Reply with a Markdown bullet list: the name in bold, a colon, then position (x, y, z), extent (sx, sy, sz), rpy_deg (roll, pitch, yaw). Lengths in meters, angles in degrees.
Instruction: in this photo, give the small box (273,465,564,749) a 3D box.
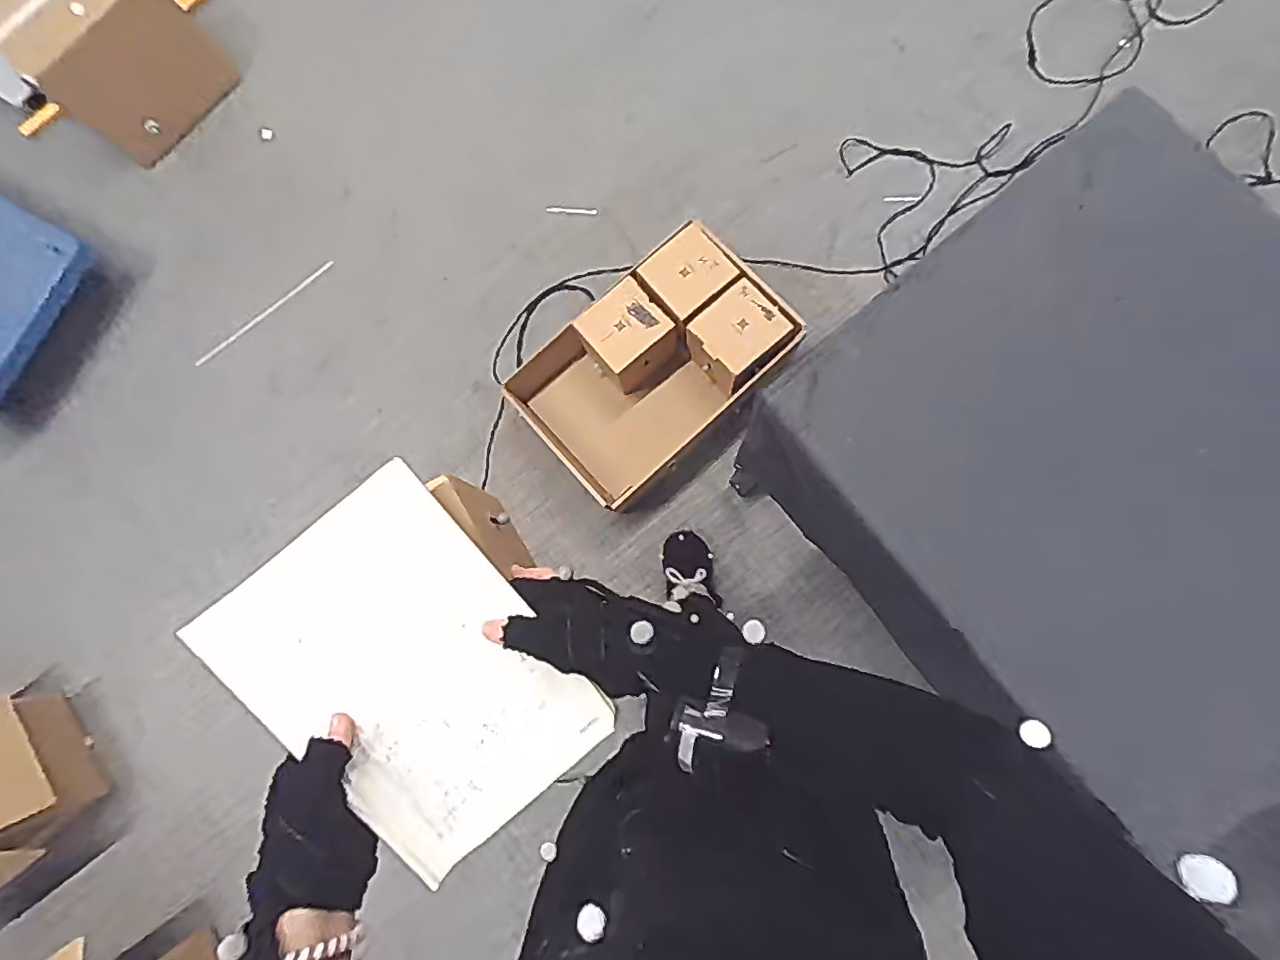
- **small box**: position (-0.192, 0.113, 0.518), extent (0.168, 0.176, 0.179), rpy_deg (-31, 81, -4)
